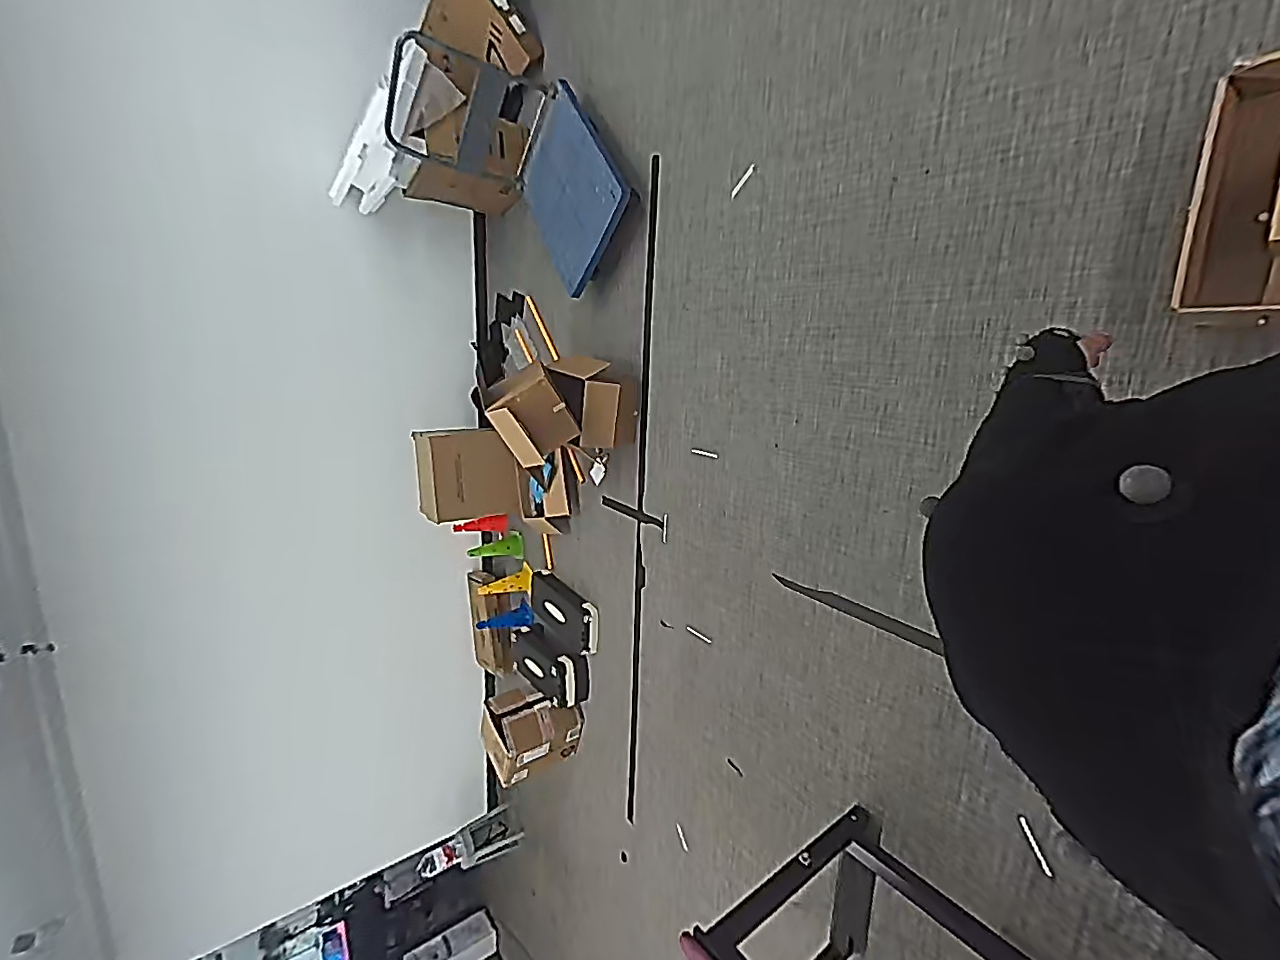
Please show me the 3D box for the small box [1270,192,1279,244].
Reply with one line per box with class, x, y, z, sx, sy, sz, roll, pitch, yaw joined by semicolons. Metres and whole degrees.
small box;1.106;-0.462;0.820;0.168;0.176;0.179;13;106;50
